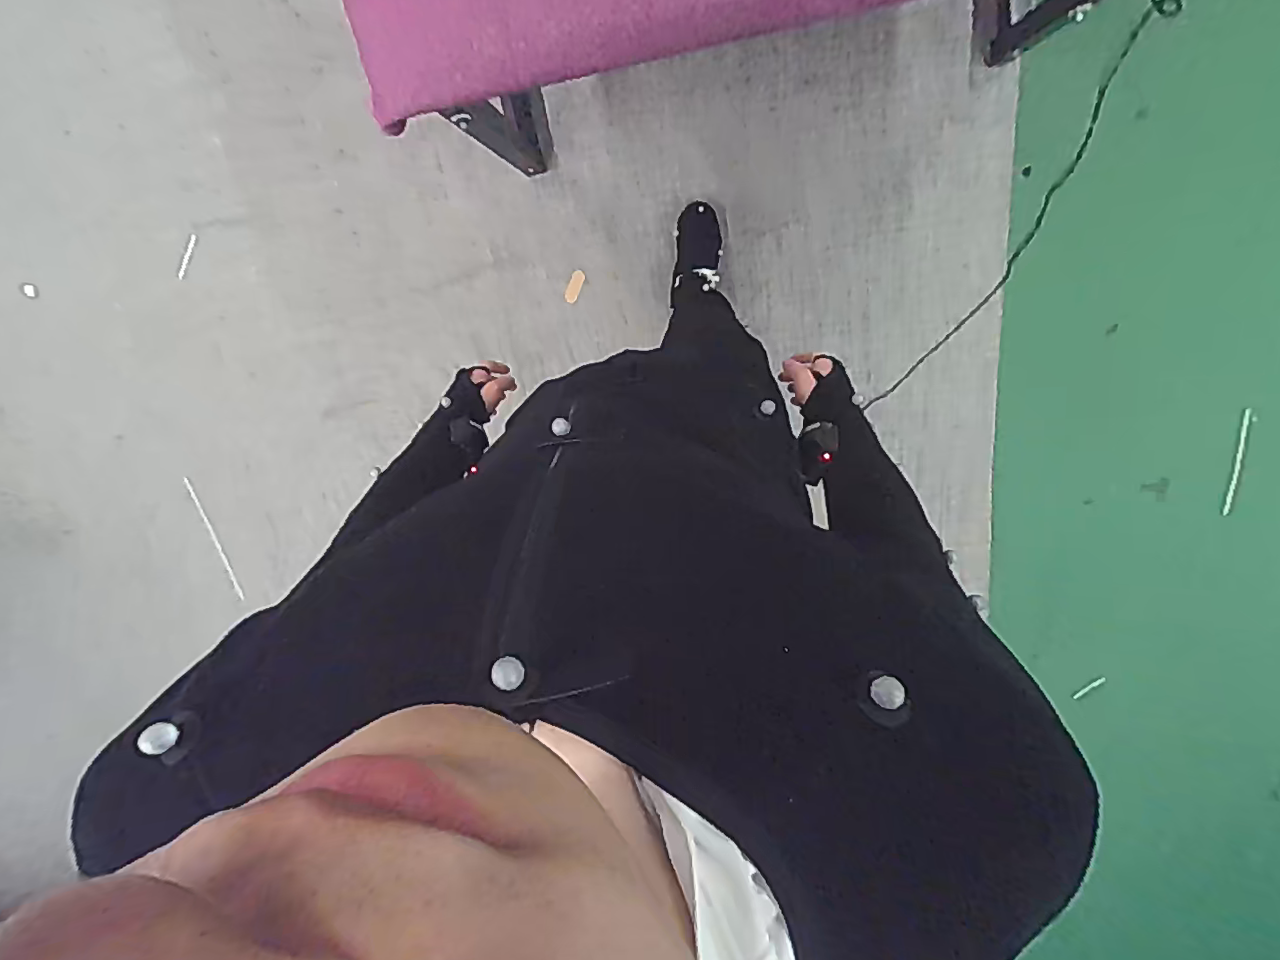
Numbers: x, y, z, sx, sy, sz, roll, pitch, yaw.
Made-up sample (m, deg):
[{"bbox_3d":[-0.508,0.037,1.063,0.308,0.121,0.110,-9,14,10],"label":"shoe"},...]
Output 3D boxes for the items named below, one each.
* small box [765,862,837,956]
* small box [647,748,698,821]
[{"bbox_3d":[0.490,1.314,1.663,0.179,0.176,0.168,0,109,5],"label":"small box"},{"bbox_3d":[0.122,1.103,1.968,0.179,0.176,0.168,-2,110,4],"label":"small box"}]
